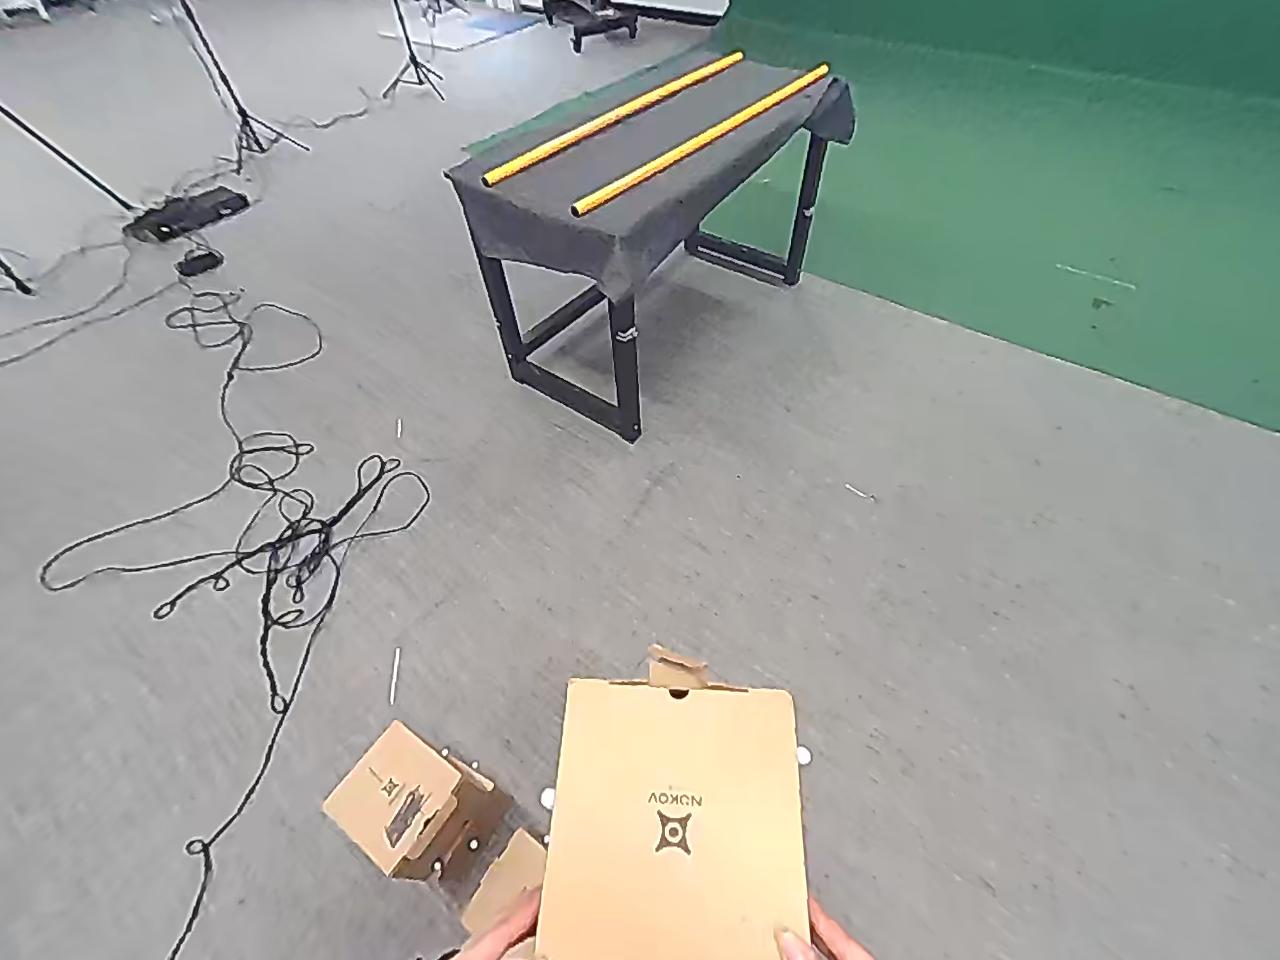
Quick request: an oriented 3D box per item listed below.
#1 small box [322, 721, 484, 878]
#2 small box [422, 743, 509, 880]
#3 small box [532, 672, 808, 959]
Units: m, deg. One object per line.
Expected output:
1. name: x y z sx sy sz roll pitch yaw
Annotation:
1. small box: -0.407 0.568 0.961 0.179 0.176 0.168 26 57 22
2. small box: -0.389 0.671 1.089 0.168 0.176 0.179 21 56 19
3. small box: 0.029 0.261 0.421 0.168 0.176 0.179 0 58 6
